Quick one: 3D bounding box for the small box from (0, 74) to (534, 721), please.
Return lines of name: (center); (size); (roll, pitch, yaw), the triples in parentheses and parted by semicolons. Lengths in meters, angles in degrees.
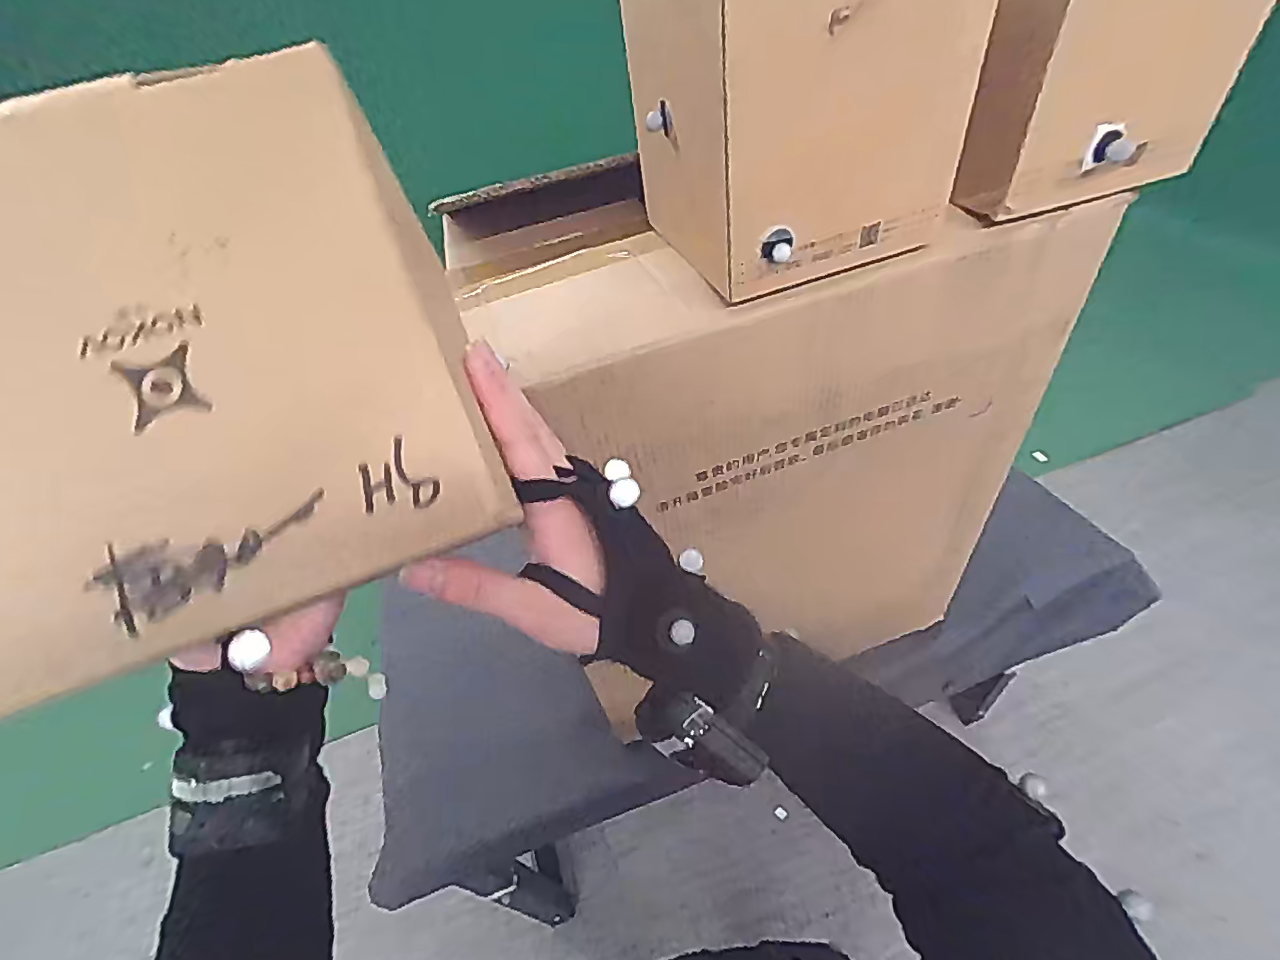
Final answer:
small box: (-0.160, -0.028, 0.255); (0.168, 0.176, 0.179); (-22, 90, -7)
